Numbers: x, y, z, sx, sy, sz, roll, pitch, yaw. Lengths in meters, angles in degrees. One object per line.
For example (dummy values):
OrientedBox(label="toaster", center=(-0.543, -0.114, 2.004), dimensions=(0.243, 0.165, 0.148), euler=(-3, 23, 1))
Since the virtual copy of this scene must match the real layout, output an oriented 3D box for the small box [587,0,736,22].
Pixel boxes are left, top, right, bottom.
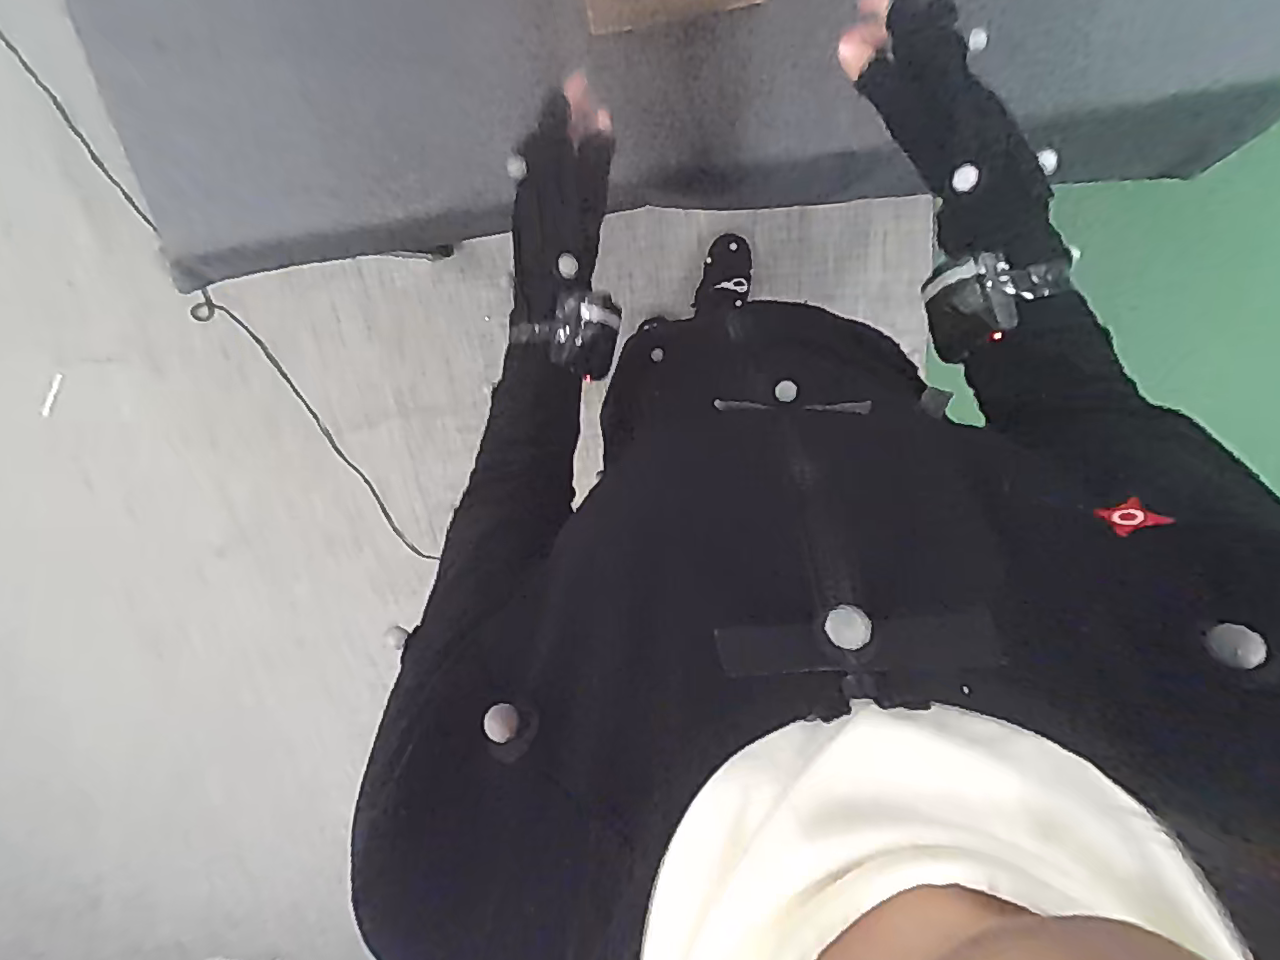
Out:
OrientedBox(label="small box", center=(0.025, -0.500, 0.422), dimensions=(0.179, 0.176, 0.168), euler=(-9, 111, 3))
